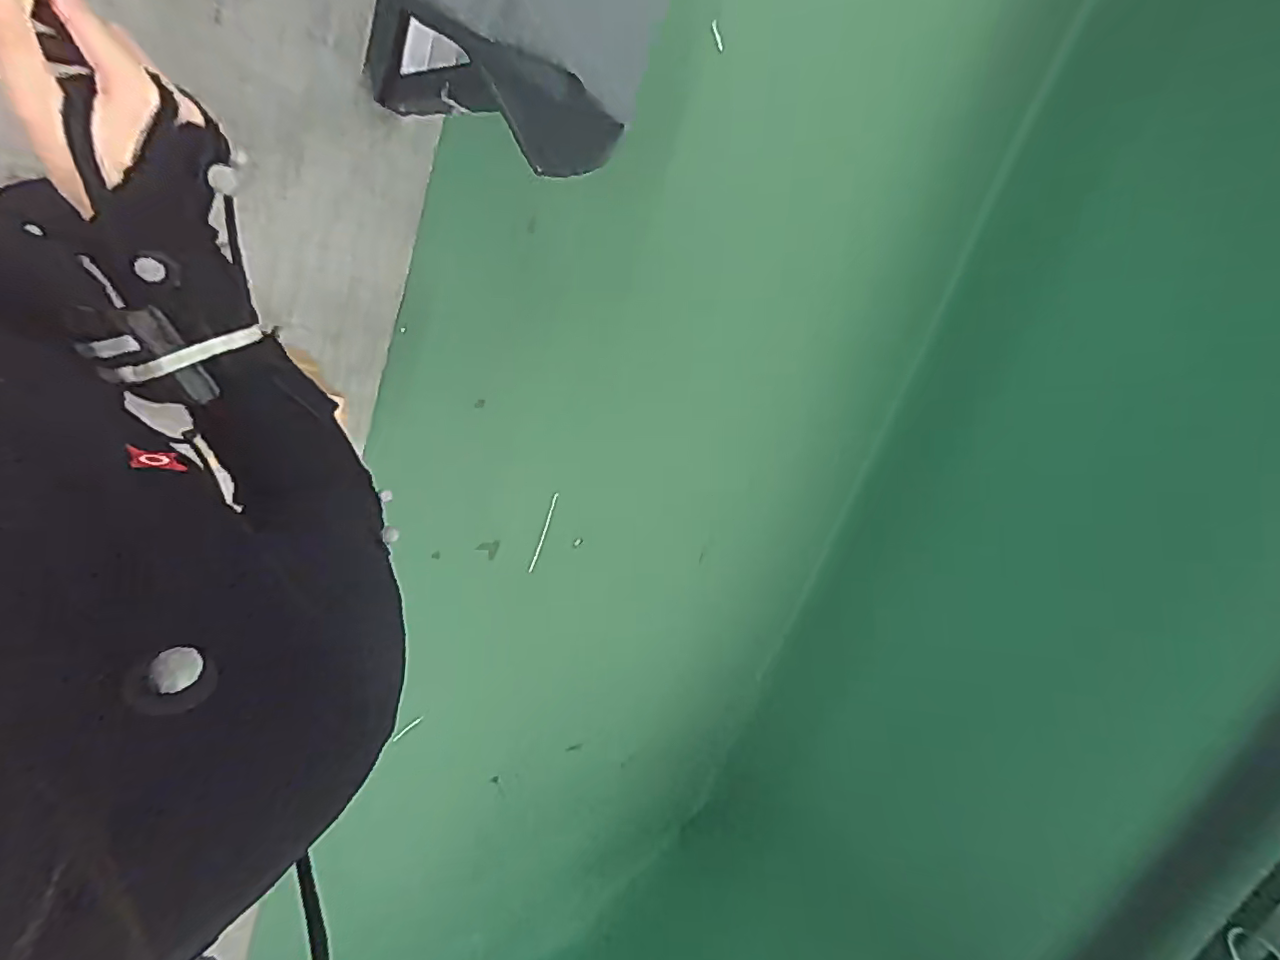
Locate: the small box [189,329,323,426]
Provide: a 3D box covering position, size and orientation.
[{"bbox_3d":[-0.779,-0.191,1.095,0.179,0.176,0.168,11,105,-47],"label":"small box"}]

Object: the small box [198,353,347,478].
[{"bbox_3d":[-0.675,-0.118,0.990,0.179,0.176,0.168,11,105,-48],"label":"small box"}]
